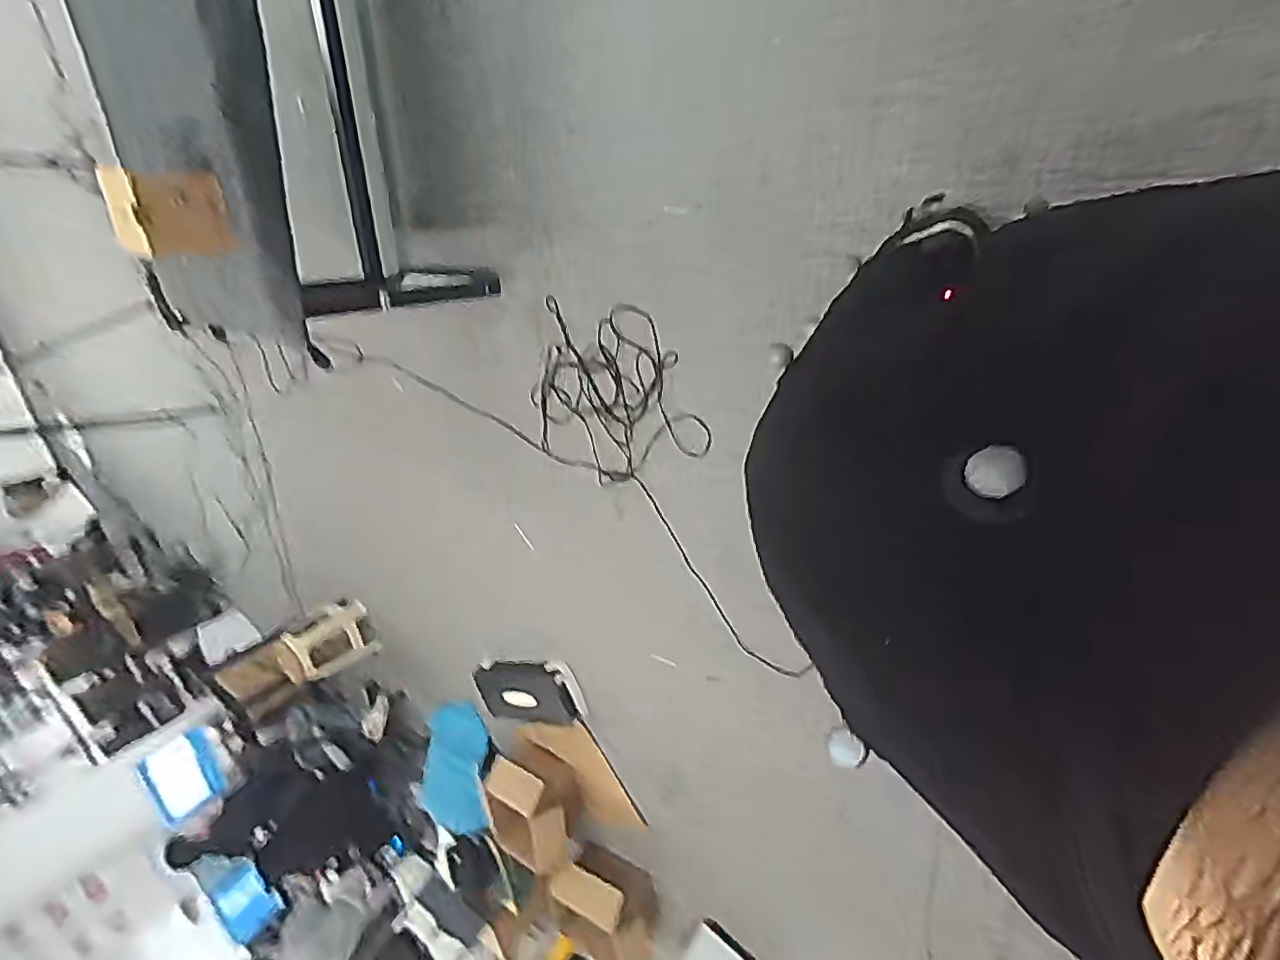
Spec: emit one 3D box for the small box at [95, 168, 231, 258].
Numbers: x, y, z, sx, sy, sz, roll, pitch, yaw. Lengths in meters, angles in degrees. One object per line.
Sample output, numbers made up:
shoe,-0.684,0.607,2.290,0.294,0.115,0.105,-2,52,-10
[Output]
small box,-1.047,-0.592,1.204,0.179,0.176,0.168,20,119,30
